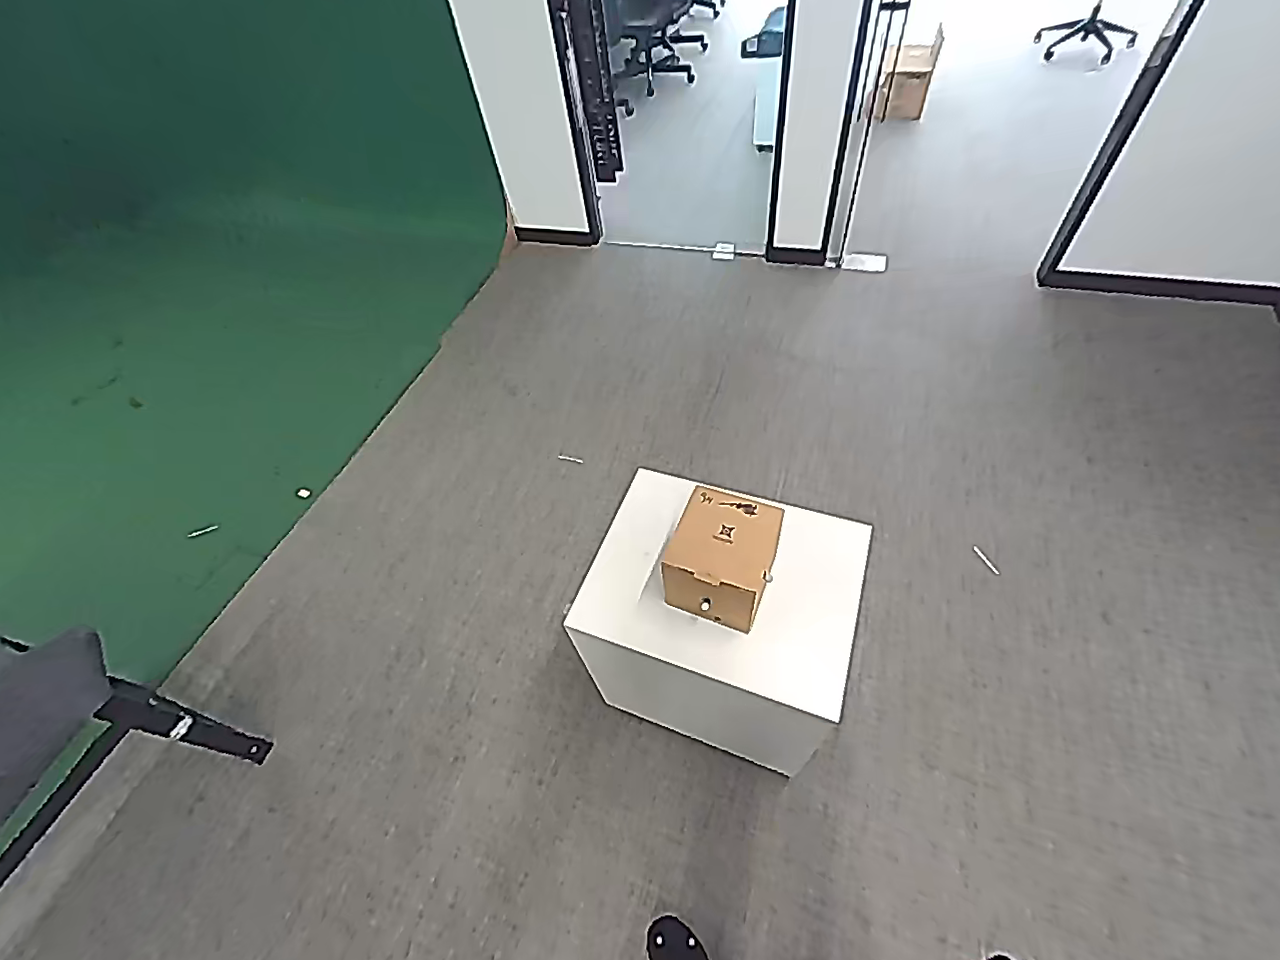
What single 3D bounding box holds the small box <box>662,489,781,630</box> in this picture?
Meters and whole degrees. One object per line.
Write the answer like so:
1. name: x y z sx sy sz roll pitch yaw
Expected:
1. small box: 0.150 0.148 0.988 0.168 0.176 0.179 14 55 17
